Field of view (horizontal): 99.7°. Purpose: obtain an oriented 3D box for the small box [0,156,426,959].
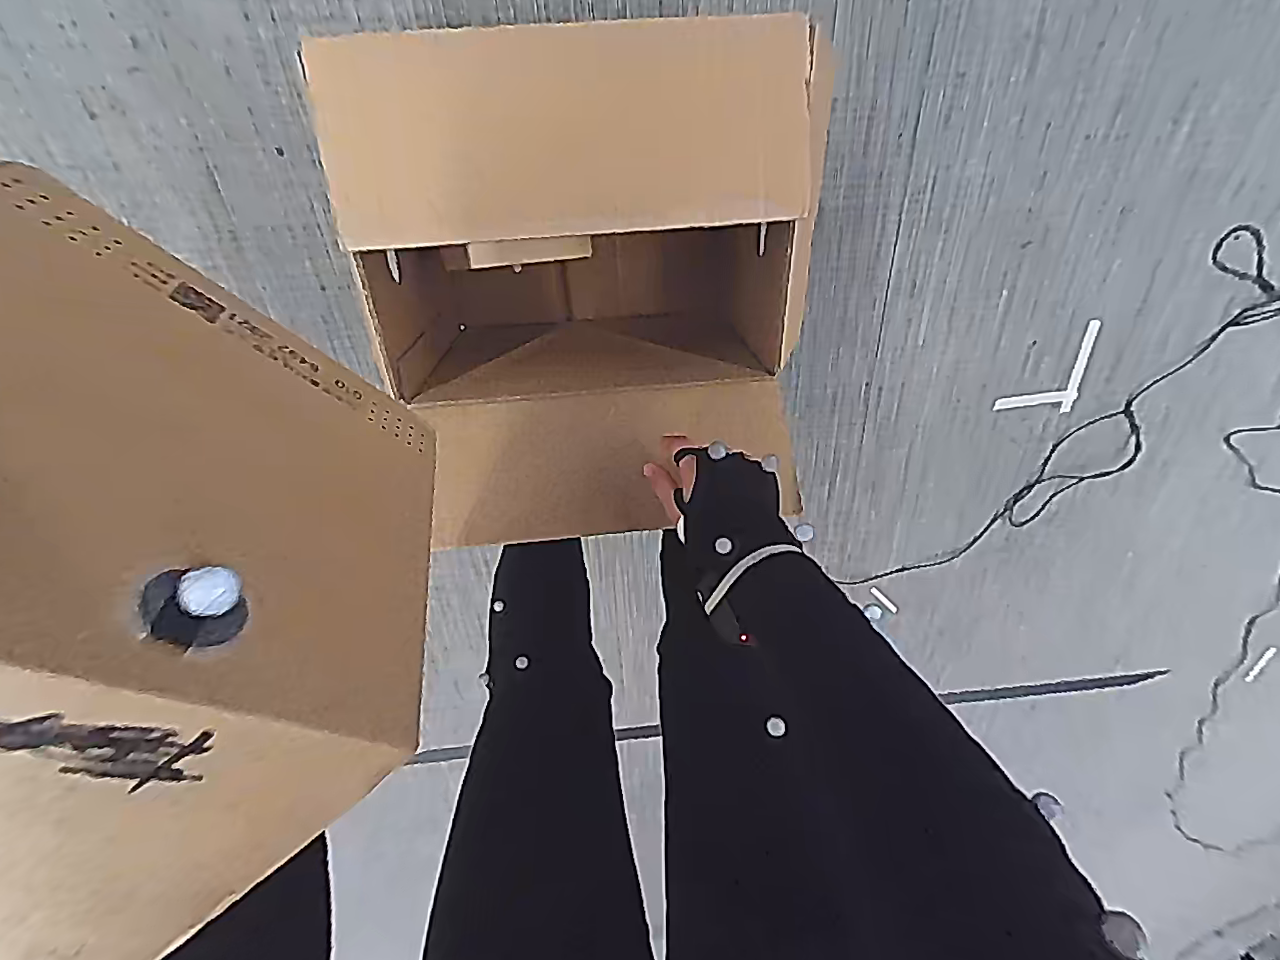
[{"bbox_3d":[-0.190,0.036,0.178,0.179,0.176,0.168,-39,130,15],"label":"small box"}]
